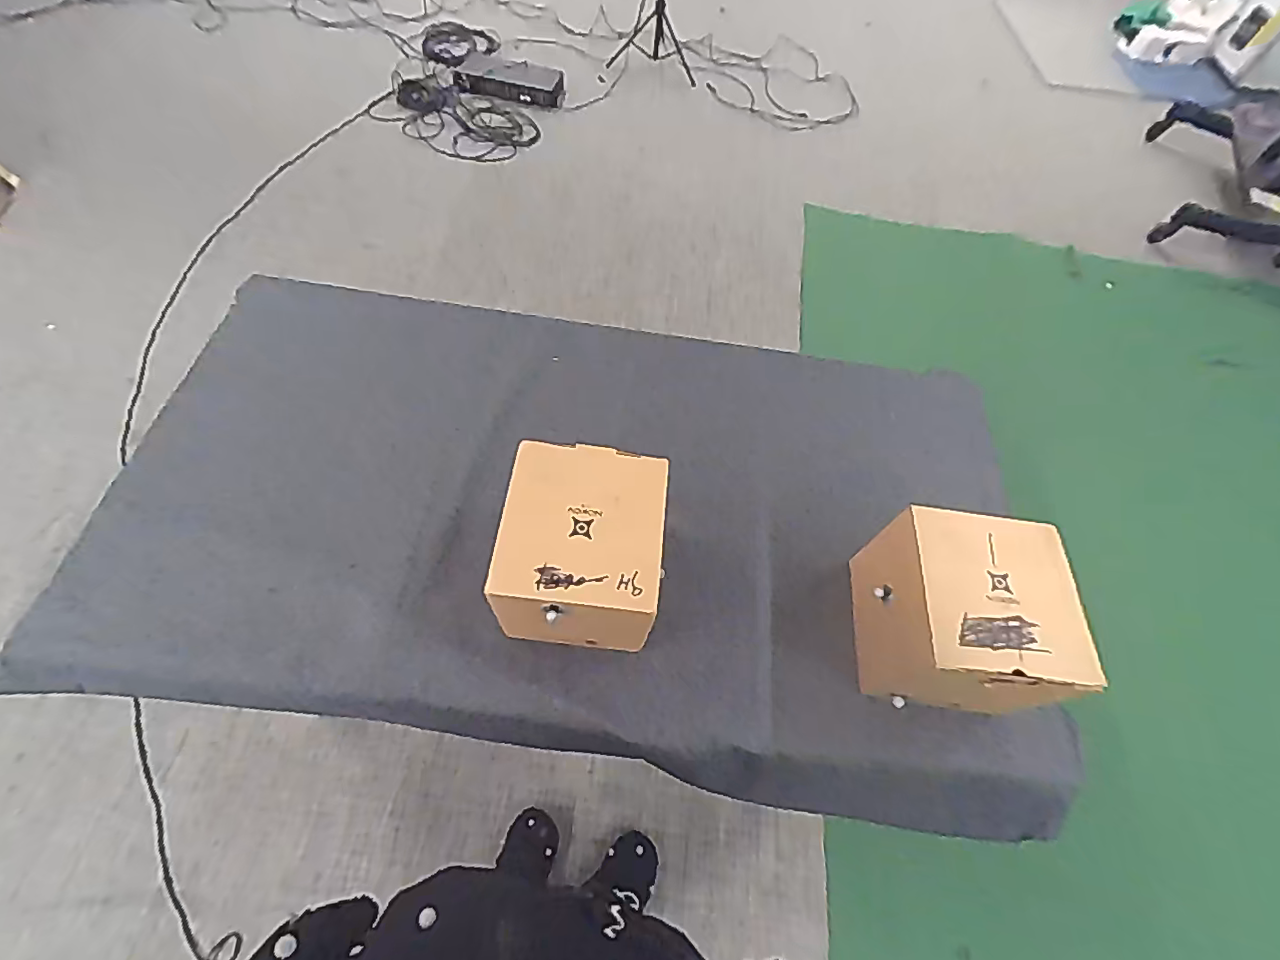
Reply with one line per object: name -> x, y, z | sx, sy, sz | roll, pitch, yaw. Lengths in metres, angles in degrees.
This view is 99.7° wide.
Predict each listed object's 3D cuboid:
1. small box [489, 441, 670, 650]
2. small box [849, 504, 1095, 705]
small box -> -0.063, 0.081, 0.625 | 0.168, 0.176, 0.179 | 7, 60, -2
small box -> 0.358, 0.151, 0.626 | 0.168, 0.176, 0.179 | 8, 59, 0
